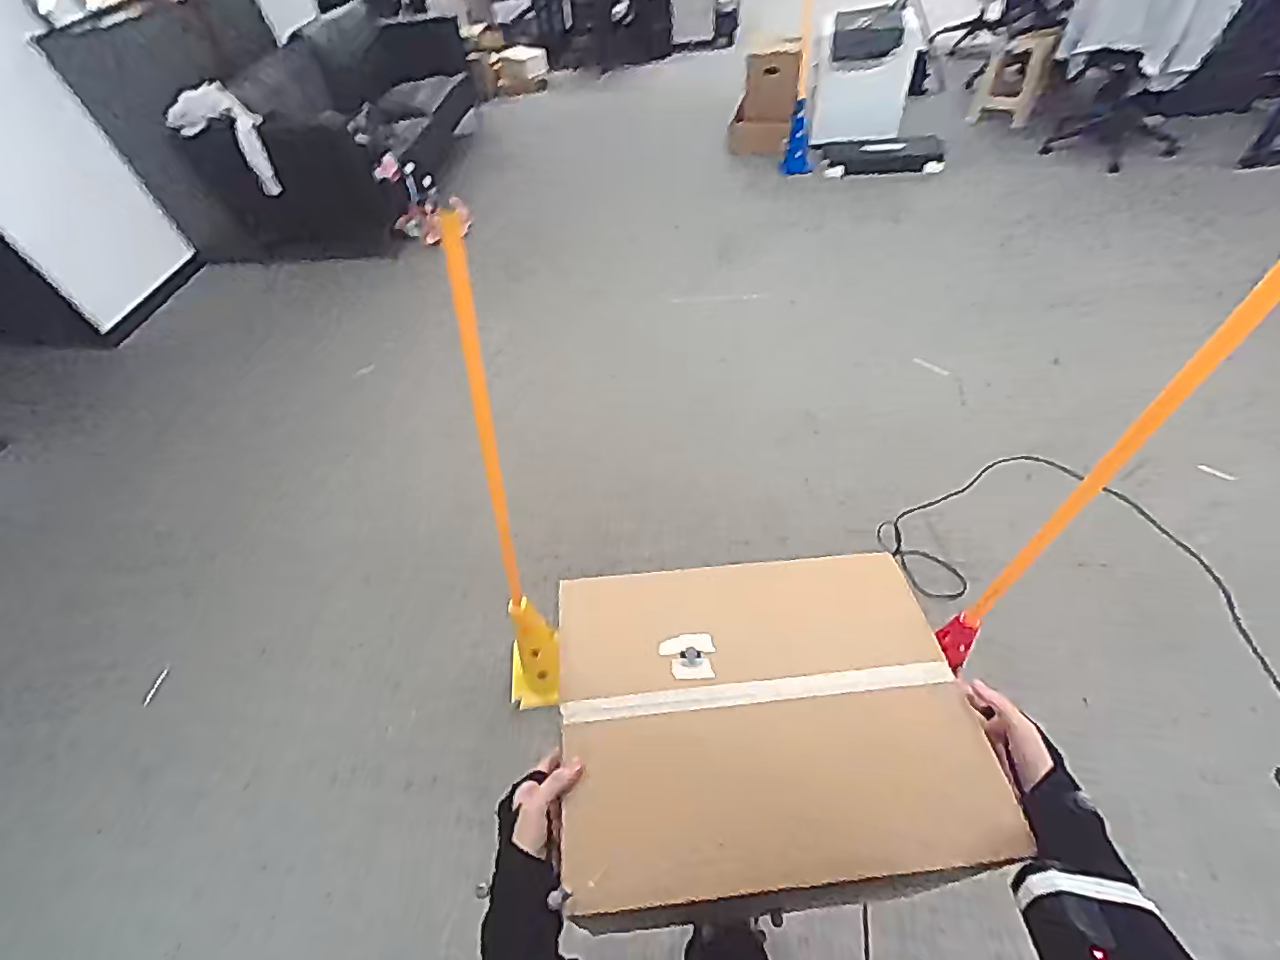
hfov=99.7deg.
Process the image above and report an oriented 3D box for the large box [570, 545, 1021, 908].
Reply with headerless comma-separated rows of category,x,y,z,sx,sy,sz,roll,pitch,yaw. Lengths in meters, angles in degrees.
large box,0.133,0.310,0.675,0.408,0.320,0.320,-5,48,-2
